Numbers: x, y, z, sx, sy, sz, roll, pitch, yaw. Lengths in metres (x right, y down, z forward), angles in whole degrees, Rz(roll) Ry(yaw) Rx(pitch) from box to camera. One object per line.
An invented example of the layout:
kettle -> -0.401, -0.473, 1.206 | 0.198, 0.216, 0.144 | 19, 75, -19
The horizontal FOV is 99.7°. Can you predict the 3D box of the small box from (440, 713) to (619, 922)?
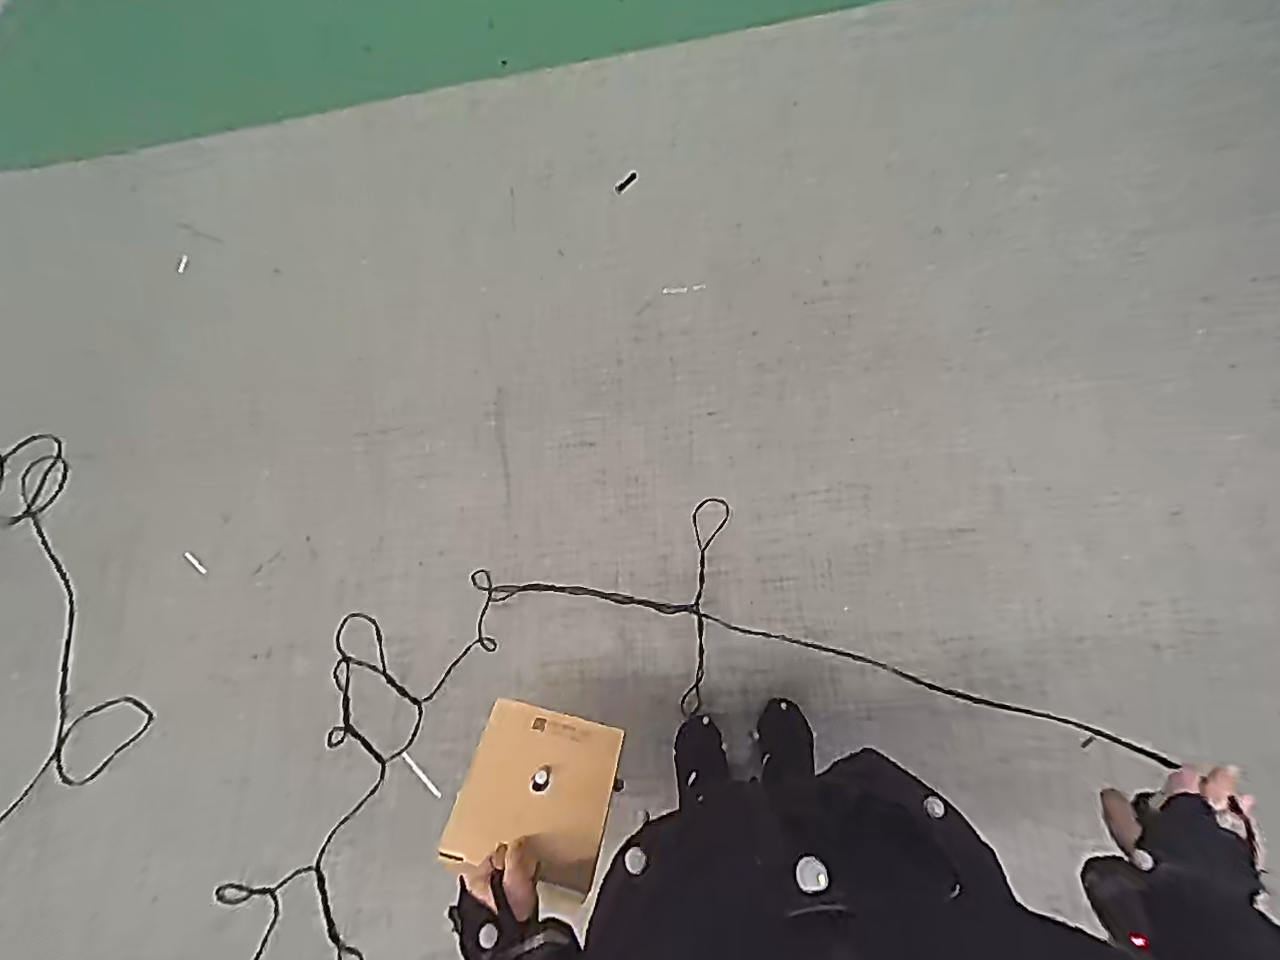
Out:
small box -> -0.126, 0.412, 0.666 | 0.168, 0.179, 0.176 | 14, 45, 1
